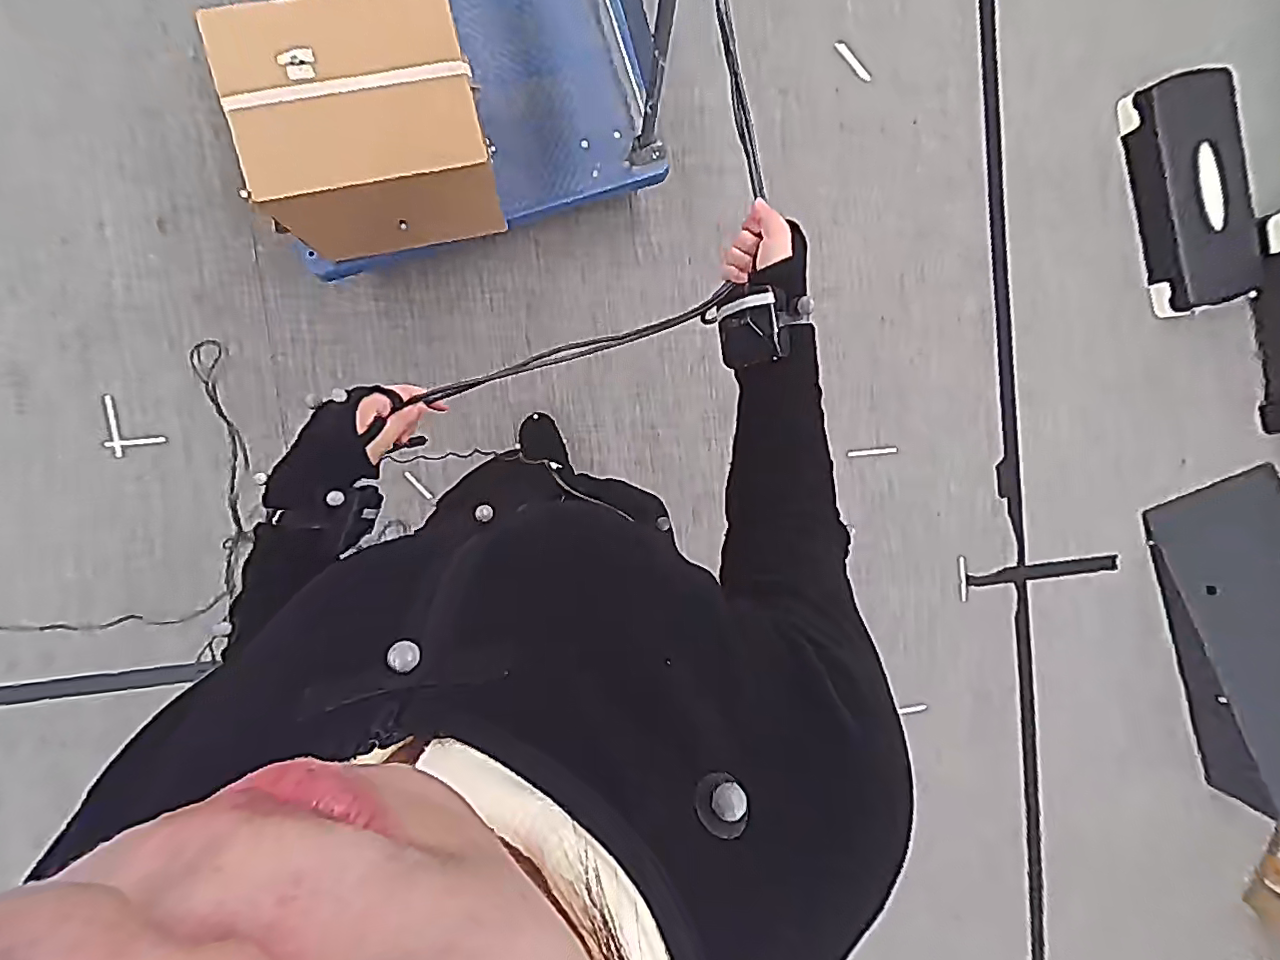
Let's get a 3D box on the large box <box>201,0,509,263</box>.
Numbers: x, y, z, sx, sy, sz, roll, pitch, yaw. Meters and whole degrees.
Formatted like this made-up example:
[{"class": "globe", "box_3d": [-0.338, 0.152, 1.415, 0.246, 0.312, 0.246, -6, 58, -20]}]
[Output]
[{"class": "large box", "box_3d": [-0.509, -0.662, 1.061, 0.408, 0.320, 0.320, -14, 94, -6]}]
